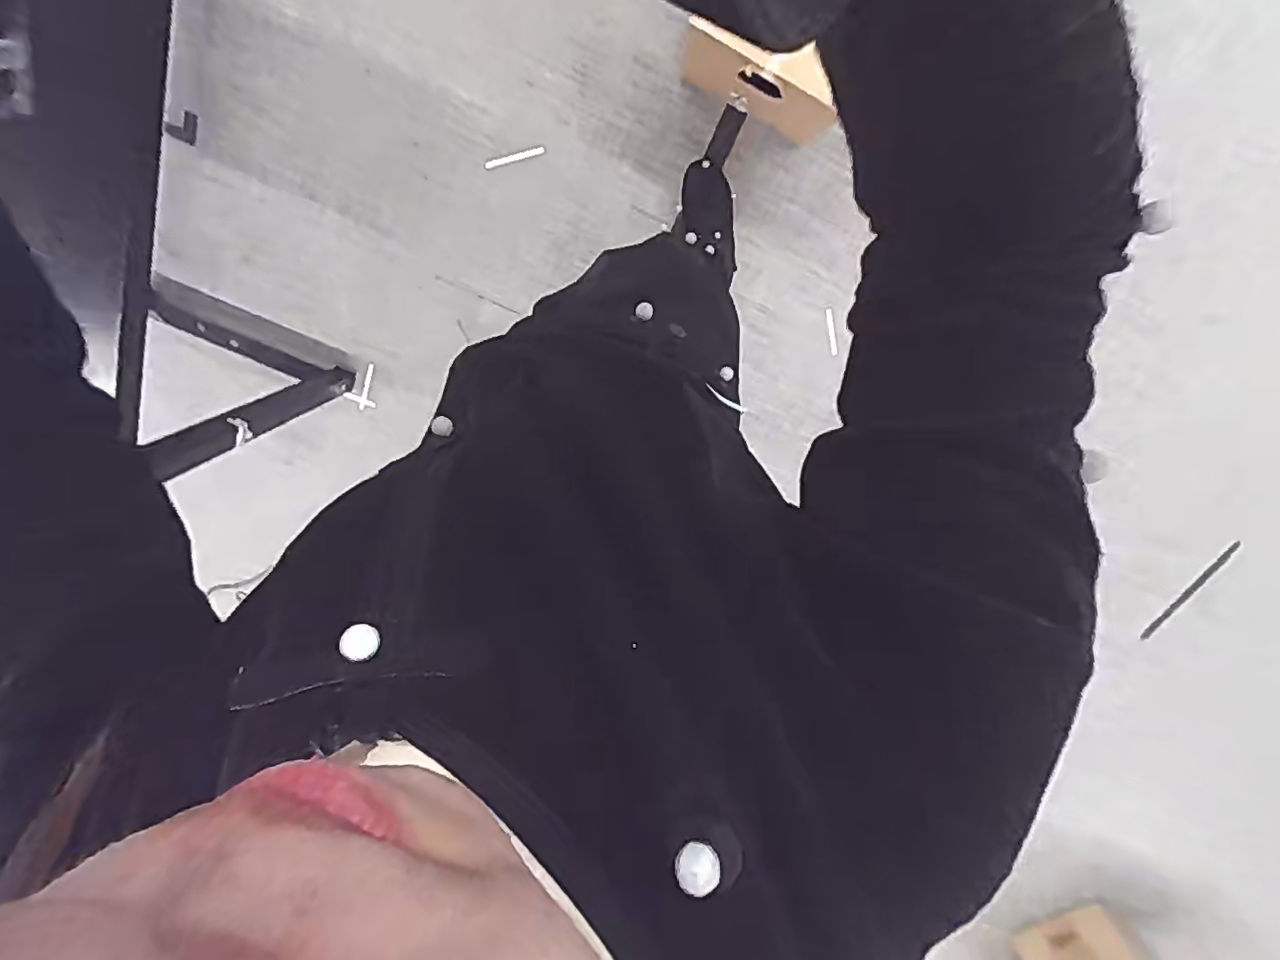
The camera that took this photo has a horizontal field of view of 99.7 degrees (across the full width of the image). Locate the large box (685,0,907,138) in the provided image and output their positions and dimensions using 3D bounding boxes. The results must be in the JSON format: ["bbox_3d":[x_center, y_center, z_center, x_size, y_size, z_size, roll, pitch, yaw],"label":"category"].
[{"bbox_3d":[0.304,-0.912,0.962,0.320,0.320,0.408,24,112,-9],"label":"large box"}]
